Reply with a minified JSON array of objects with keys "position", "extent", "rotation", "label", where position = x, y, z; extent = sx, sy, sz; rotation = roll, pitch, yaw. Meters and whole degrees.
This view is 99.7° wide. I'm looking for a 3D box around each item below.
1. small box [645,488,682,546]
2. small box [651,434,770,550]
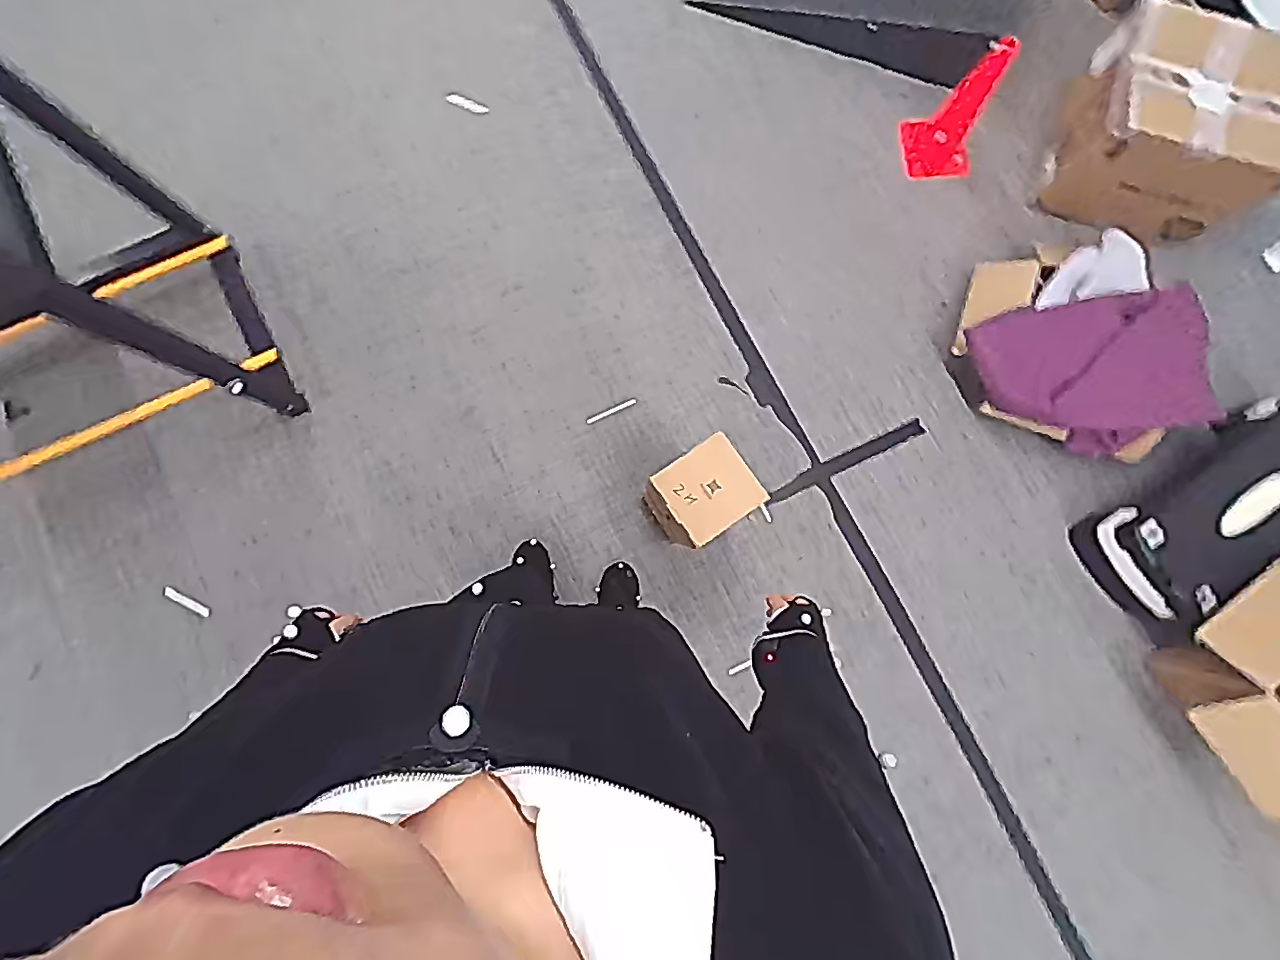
[{"position":[0.124,0.063,1.449],"extent":[0.179,0.176,0.168],"rotation":[-33,83,-4],"label":"small box"},{"position":[0.135,0.031,1.120],"extent":[0.179,0.176,0.168],"rotation":[-34,83,-5],"label":"small box"}]
